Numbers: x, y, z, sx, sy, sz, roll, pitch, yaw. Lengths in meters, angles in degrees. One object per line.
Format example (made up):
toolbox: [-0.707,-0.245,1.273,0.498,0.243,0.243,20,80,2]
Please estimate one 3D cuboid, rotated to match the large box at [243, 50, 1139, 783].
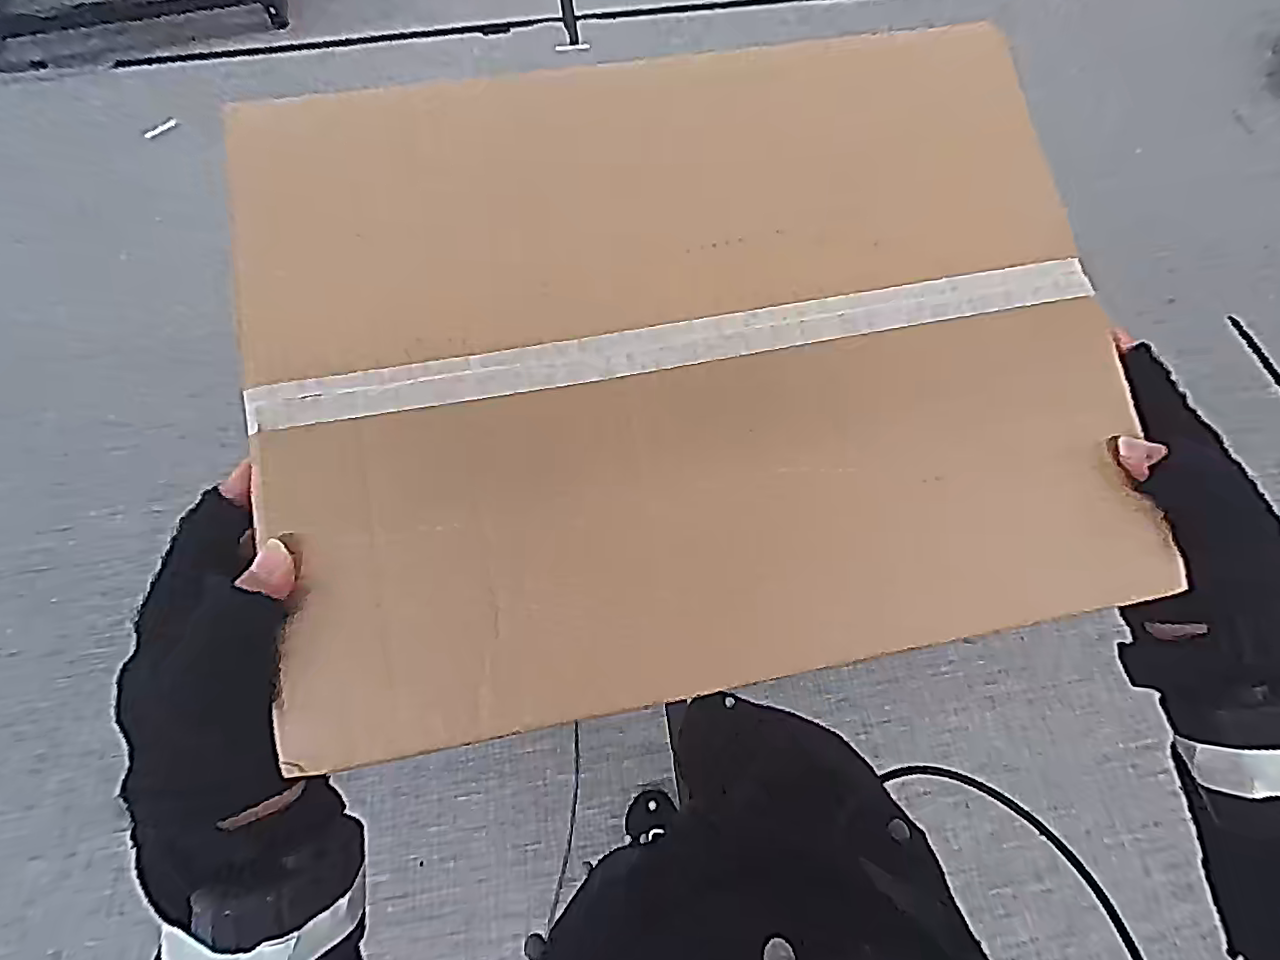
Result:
large box: [0.017,-0.034,0.414,0.408,0.320,0.320,-11,81,-4]
